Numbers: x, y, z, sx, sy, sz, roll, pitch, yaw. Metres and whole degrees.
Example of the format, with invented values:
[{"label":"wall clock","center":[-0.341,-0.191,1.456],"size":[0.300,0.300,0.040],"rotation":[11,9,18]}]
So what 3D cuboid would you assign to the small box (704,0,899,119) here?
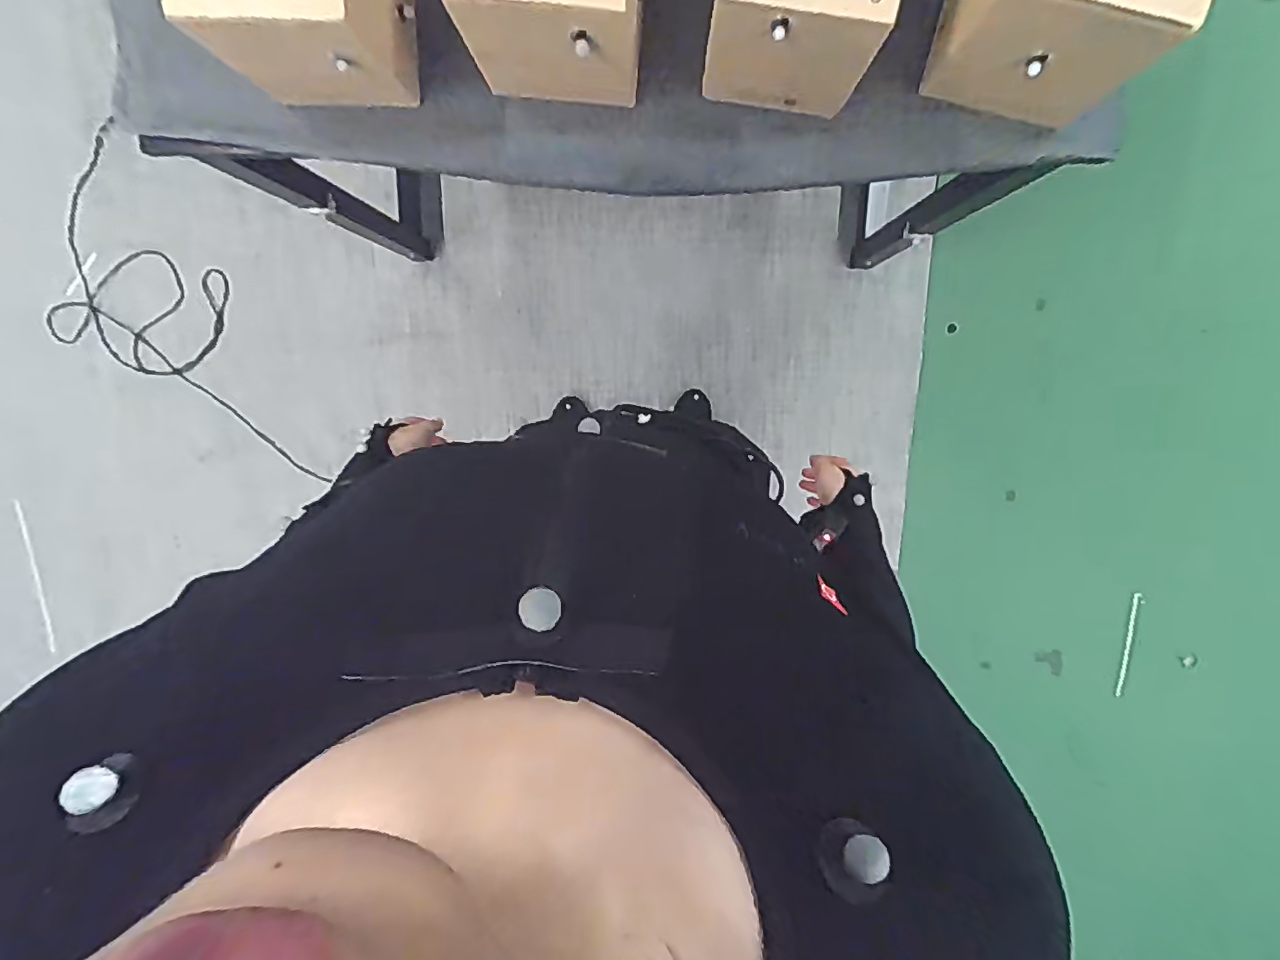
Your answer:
[{"label":"small box","center":[0.164,-0.516,0.553],"size":[0.168,0.176,0.179],"rotation":[10,98,0]}]

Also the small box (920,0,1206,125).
[{"label":"small box","center":[0.424,-0.496,0.542],"size":[0.179,0.176,0.168],"rotation":[15,97,1]}]

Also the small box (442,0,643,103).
[{"label":"small box","center":[-0.087,-0.525,0.560],"size":[0.179,0.176,0.168],"rotation":[7,99,2]}]
